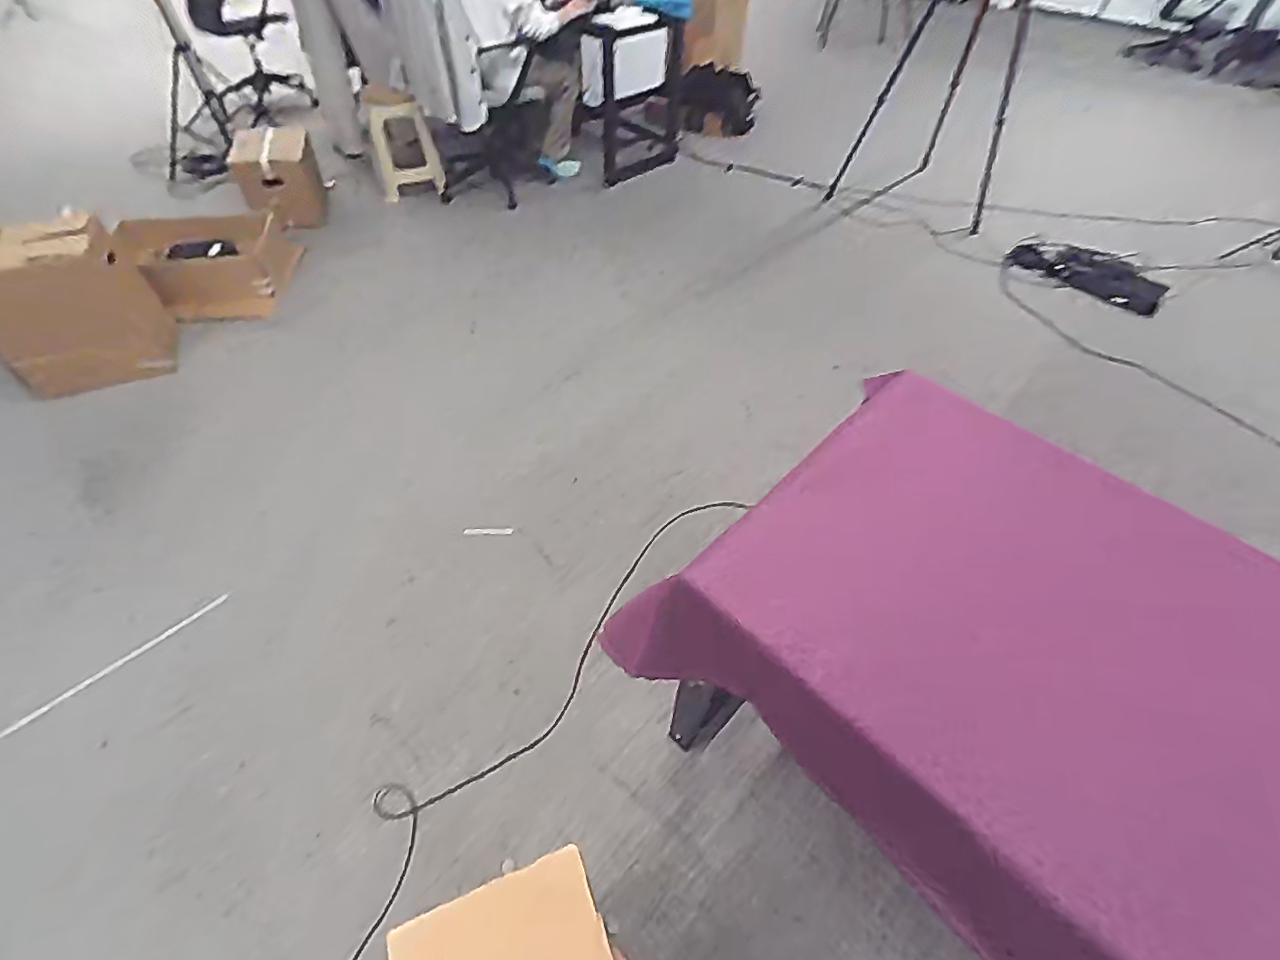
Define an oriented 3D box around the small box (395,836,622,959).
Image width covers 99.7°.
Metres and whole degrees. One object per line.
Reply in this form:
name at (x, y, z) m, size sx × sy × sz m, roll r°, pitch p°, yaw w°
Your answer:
small box at (-0.112, 0.464, 0.515) m, size 0.179 × 0.176 × 0.168 m, roll -15°, pitch 59°, yaw -17°
